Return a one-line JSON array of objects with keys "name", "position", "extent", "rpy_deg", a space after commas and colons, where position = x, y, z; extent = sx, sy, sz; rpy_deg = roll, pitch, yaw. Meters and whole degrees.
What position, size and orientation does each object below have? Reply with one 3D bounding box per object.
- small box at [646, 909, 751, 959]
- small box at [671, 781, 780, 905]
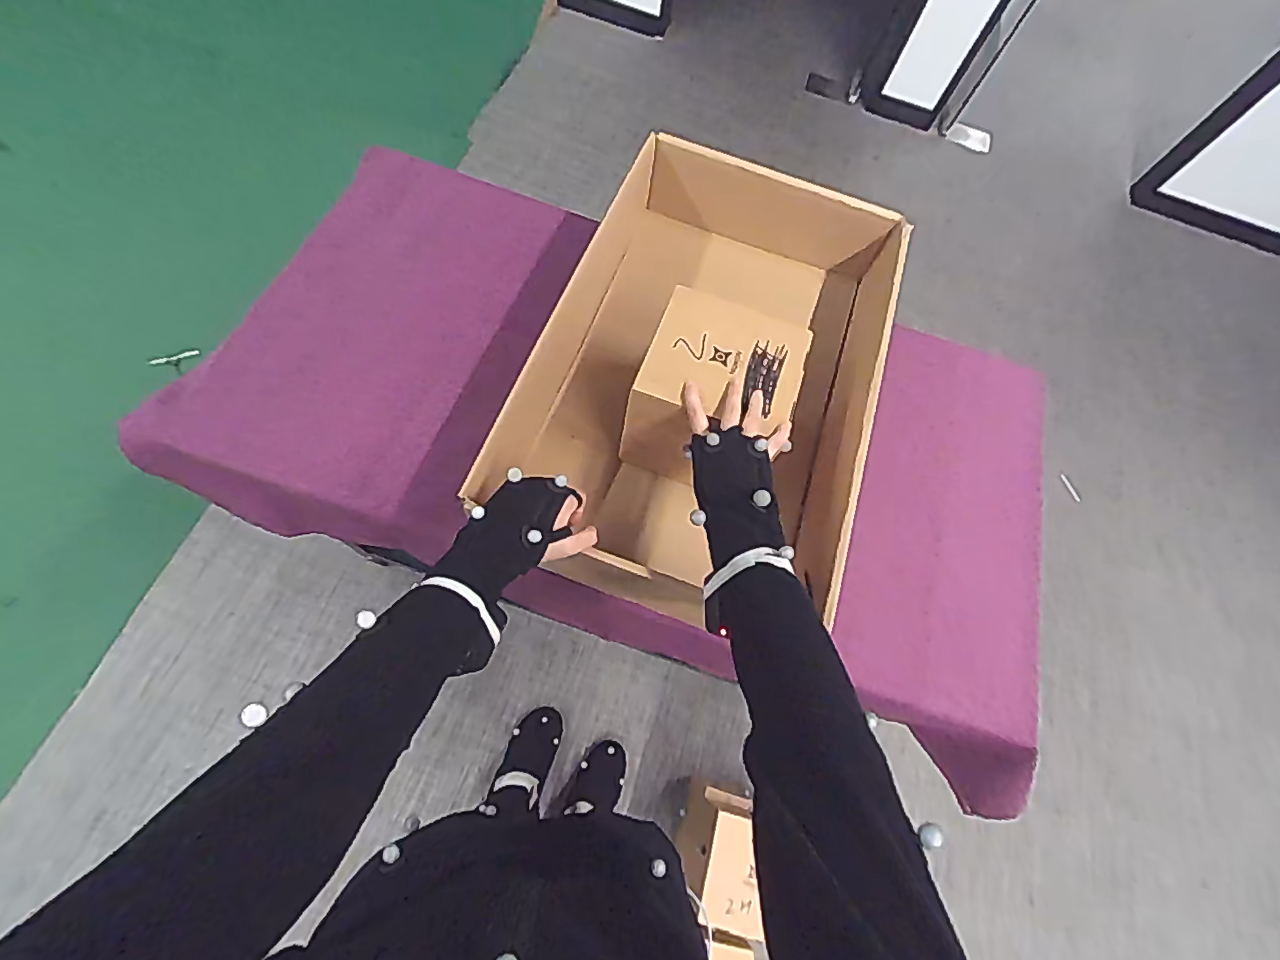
[{"name": "small box", "position": [0.105, 0.999, 1.086], "extent": [0.179, 0.176, 0.168], "rpy_deg": [15, 66, -2]}, {"name": "small box", "position": [0.182, 0.780, 1.184], "extent": [0.179, 0.176, 0.168], "rpy_deg": [18, 67, 1]}]
